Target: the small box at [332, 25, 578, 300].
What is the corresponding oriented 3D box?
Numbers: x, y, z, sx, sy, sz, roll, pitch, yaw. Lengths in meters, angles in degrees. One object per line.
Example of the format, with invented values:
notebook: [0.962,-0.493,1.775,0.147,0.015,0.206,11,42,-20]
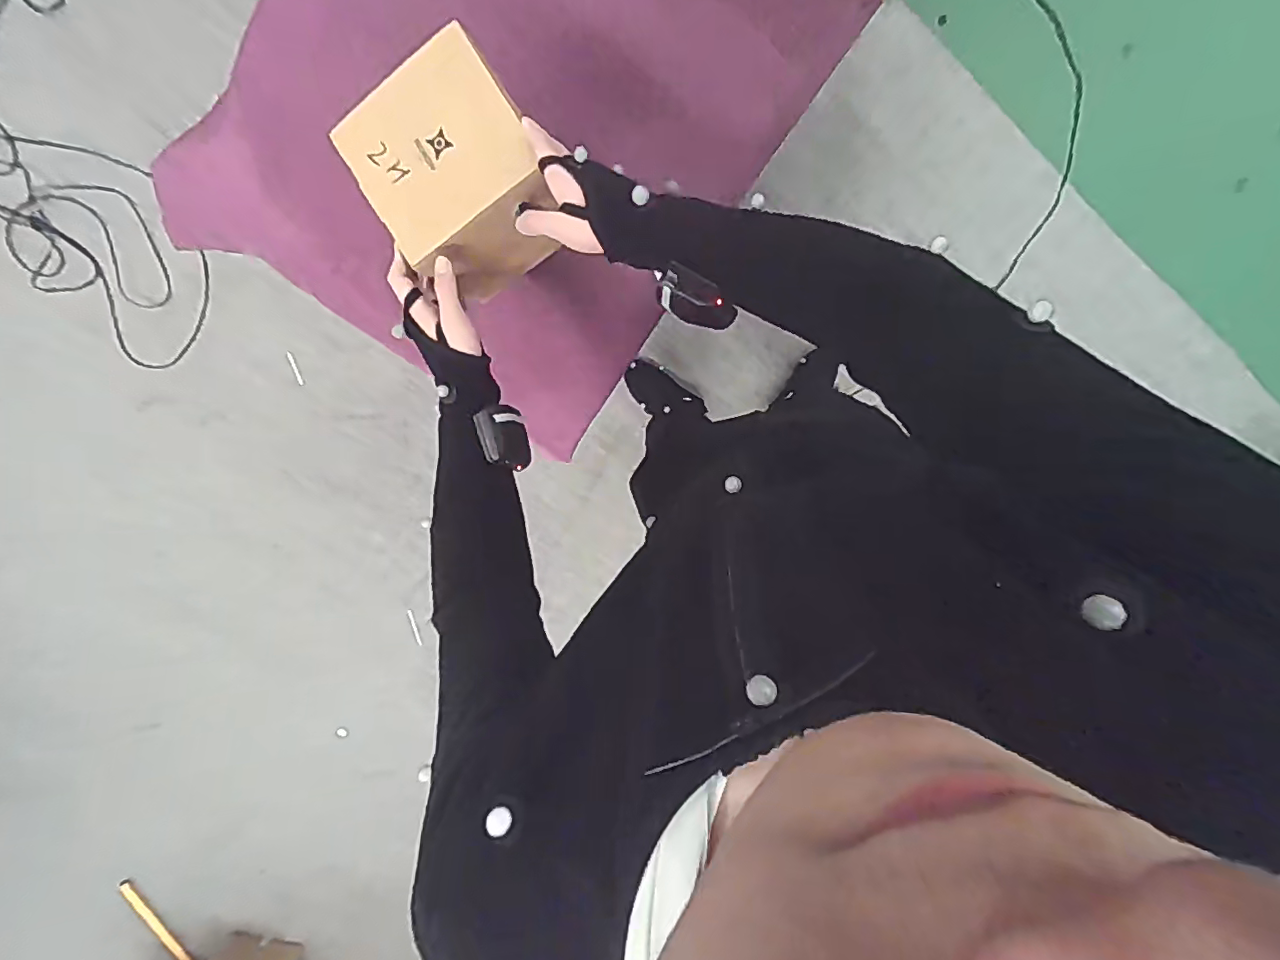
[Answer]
small box: [-0.187,-0.334,0.611,0.179,0.176,0.168,-32,90,11]
